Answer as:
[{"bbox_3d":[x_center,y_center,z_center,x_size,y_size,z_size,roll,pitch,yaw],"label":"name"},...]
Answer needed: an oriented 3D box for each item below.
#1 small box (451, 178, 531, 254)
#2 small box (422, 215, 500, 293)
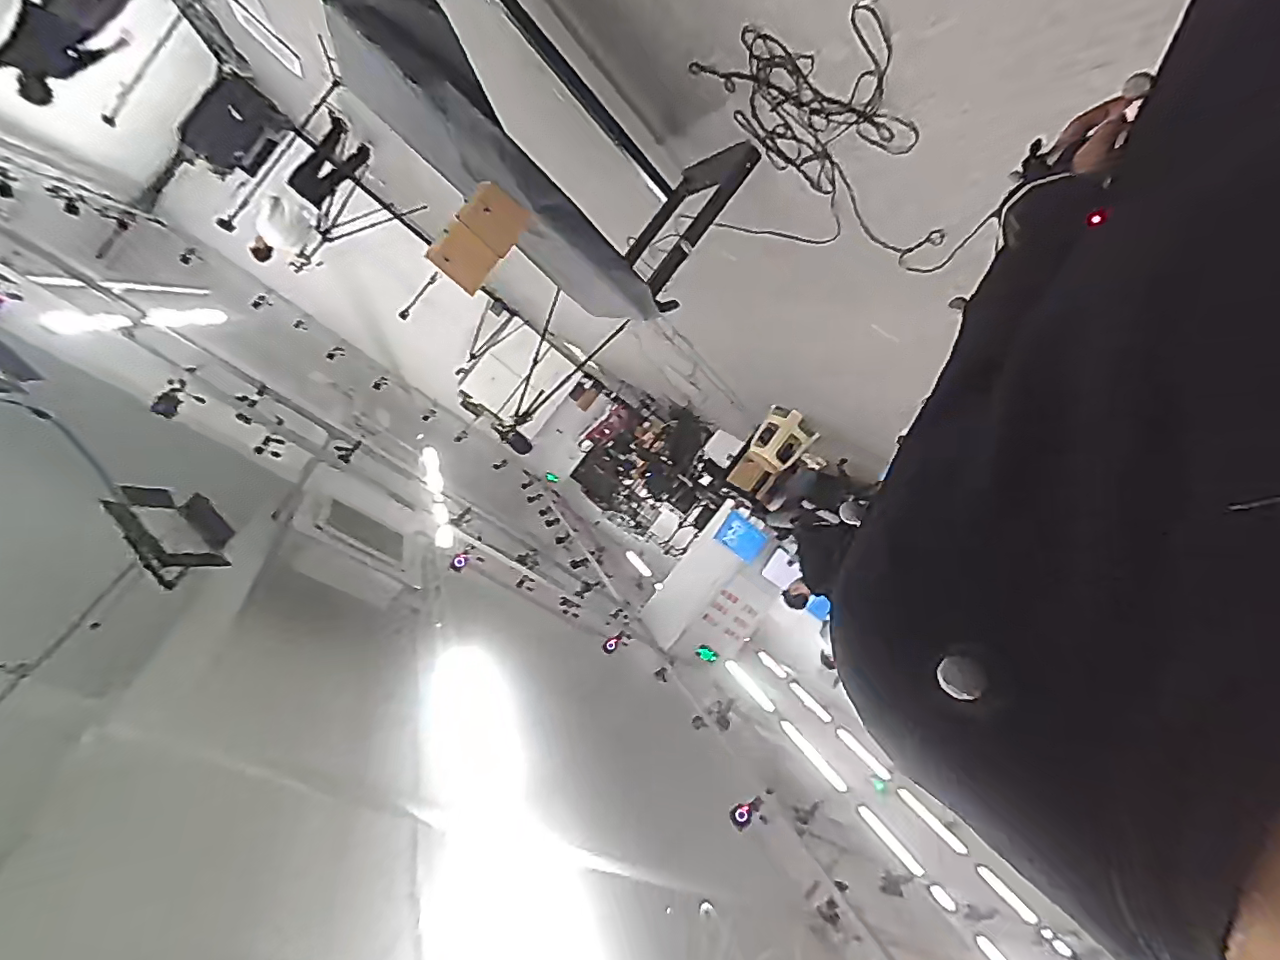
[{"bbox_3d":[-0.506,-0.898,1.836,0.179,0.176,0.168,36,-178,-38],"label":"small box"},{"bbox_3d":[-0.607,-0.771,1.841,0.179,0.176,0.168,38,-179,-38],"label":"small box"}]
